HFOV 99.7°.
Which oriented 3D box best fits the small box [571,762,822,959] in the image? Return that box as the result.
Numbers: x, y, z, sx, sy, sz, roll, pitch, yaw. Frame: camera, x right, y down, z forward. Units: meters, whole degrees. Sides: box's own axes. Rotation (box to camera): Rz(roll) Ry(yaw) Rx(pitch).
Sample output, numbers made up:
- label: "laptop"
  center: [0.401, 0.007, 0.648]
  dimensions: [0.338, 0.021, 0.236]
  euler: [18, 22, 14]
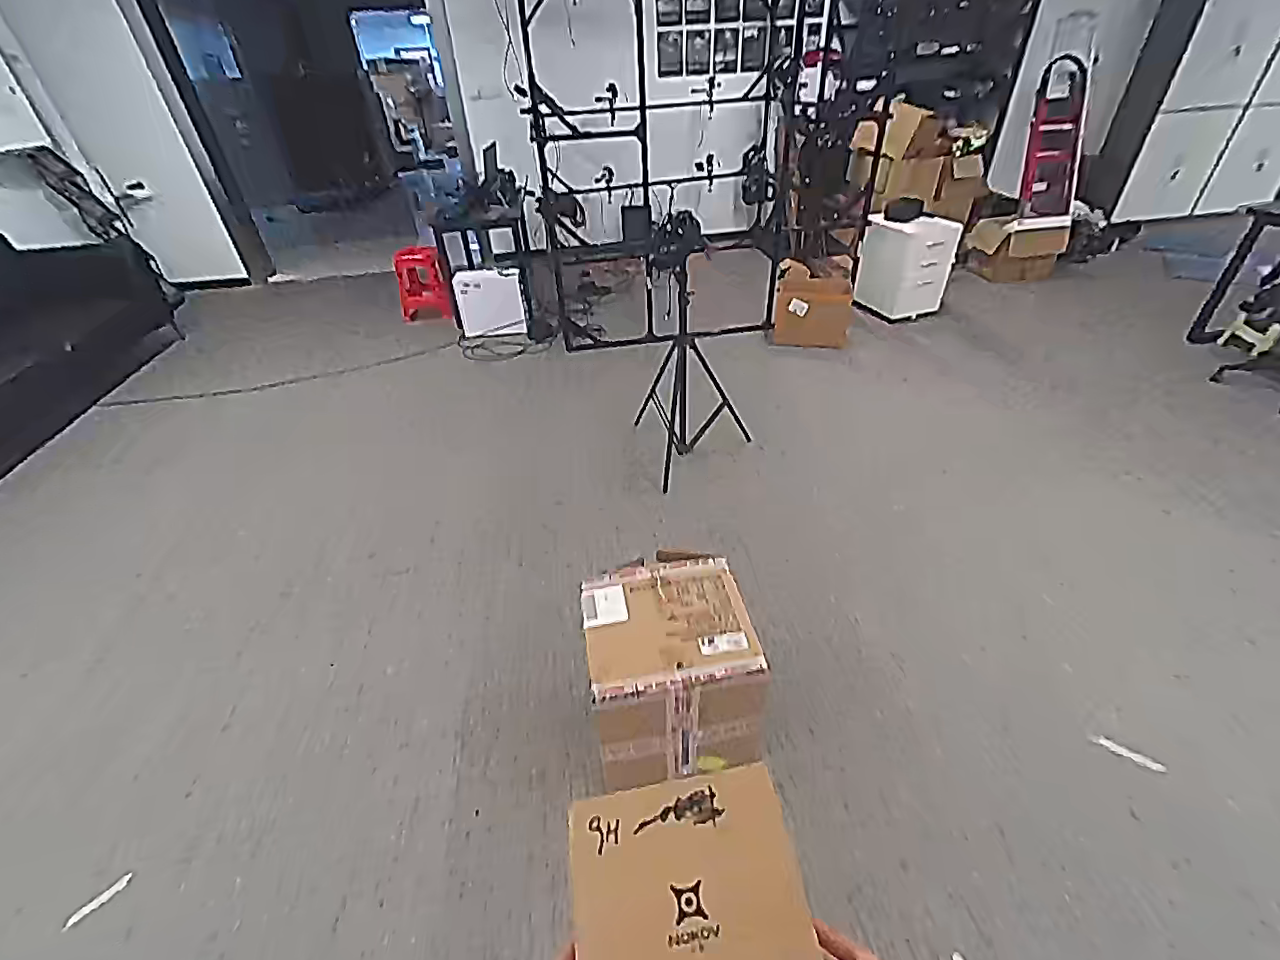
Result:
- label: "small box"
  center: [0.046, 0.357, 0.441]
  dimensions: [0.168, 0.176, 0.179]
  euler: [-11, 49, -1]
